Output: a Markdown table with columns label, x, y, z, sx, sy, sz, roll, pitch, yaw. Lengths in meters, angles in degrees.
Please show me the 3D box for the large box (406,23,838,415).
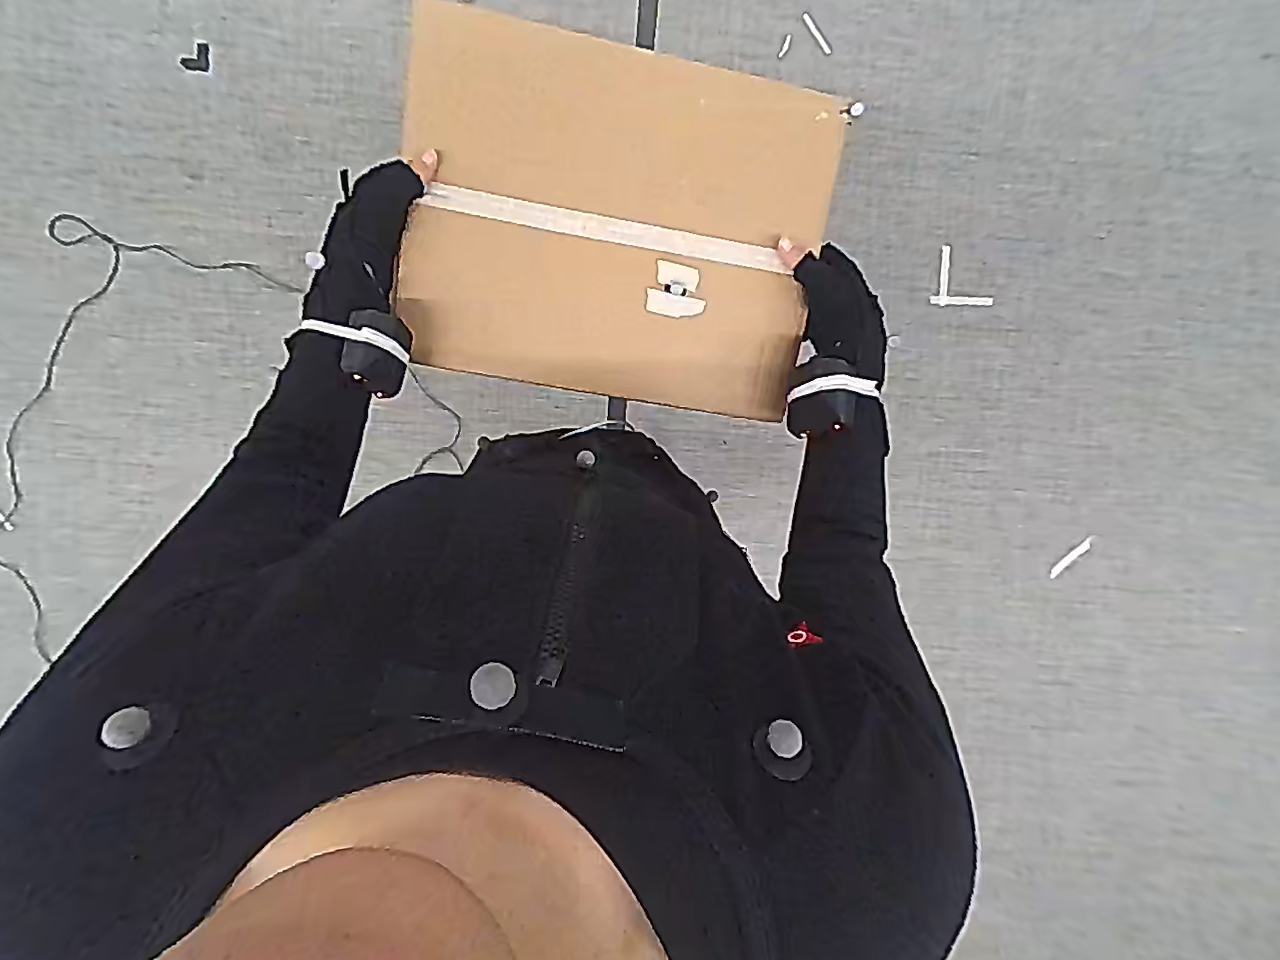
| label | x | y | z | sx | sy | sz | roll | pitch | yaw |
| --- | --- | --- | --- | --- | --- | --- | --- | --- | --- |
| large box | -0.036 | -0.272 | 0.681 | 0.408 | 0.320 | 0.320 | 8 | 102 | -7 |
